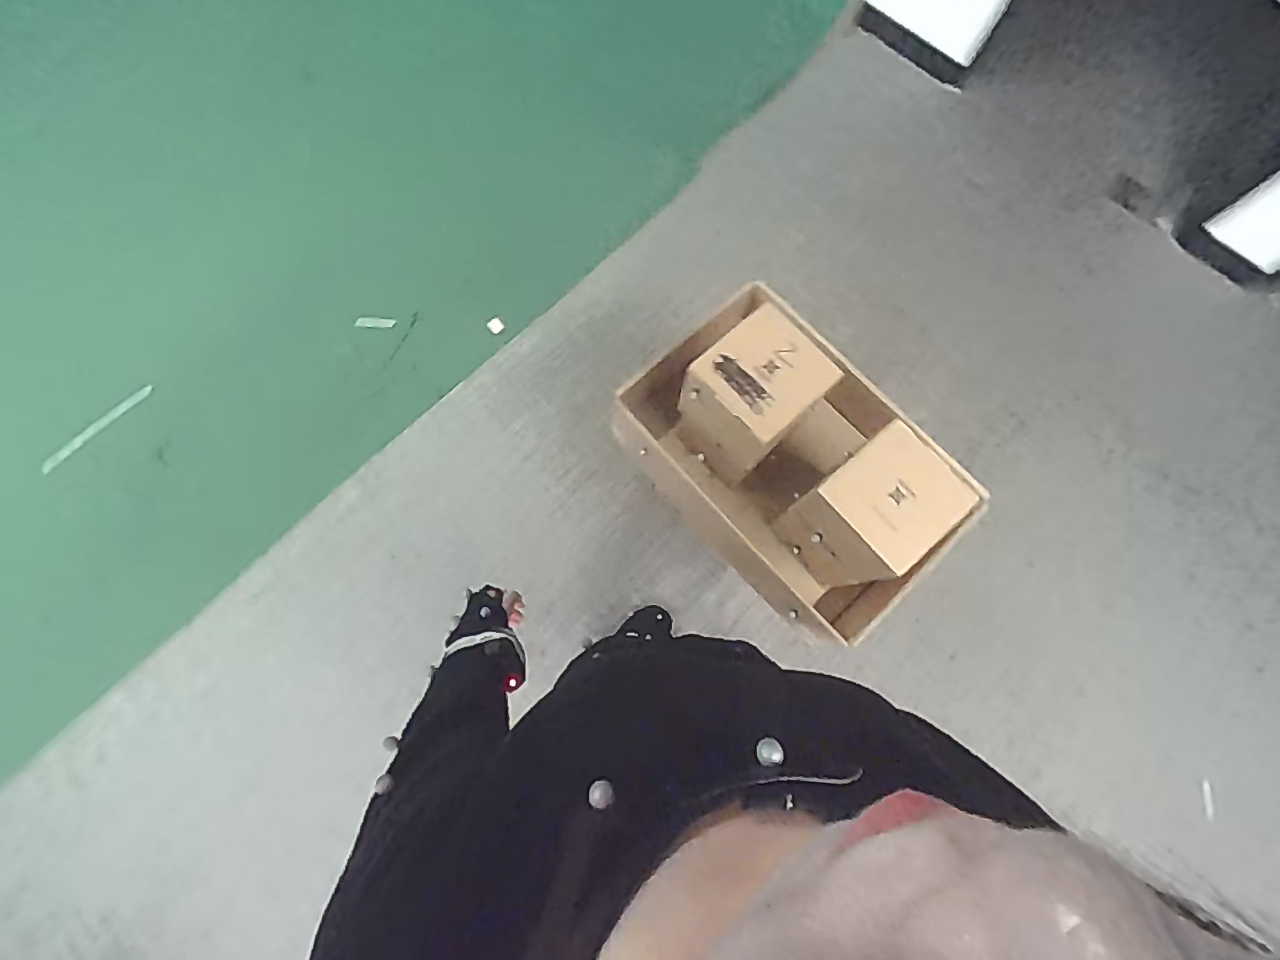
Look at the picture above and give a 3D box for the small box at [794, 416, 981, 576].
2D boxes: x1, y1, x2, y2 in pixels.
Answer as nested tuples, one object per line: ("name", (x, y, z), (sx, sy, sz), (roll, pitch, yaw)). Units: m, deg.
("small box", (0.372, 0.033, 0.851), (0.179, 0.176, 0.168), (-38, 79, -8))
